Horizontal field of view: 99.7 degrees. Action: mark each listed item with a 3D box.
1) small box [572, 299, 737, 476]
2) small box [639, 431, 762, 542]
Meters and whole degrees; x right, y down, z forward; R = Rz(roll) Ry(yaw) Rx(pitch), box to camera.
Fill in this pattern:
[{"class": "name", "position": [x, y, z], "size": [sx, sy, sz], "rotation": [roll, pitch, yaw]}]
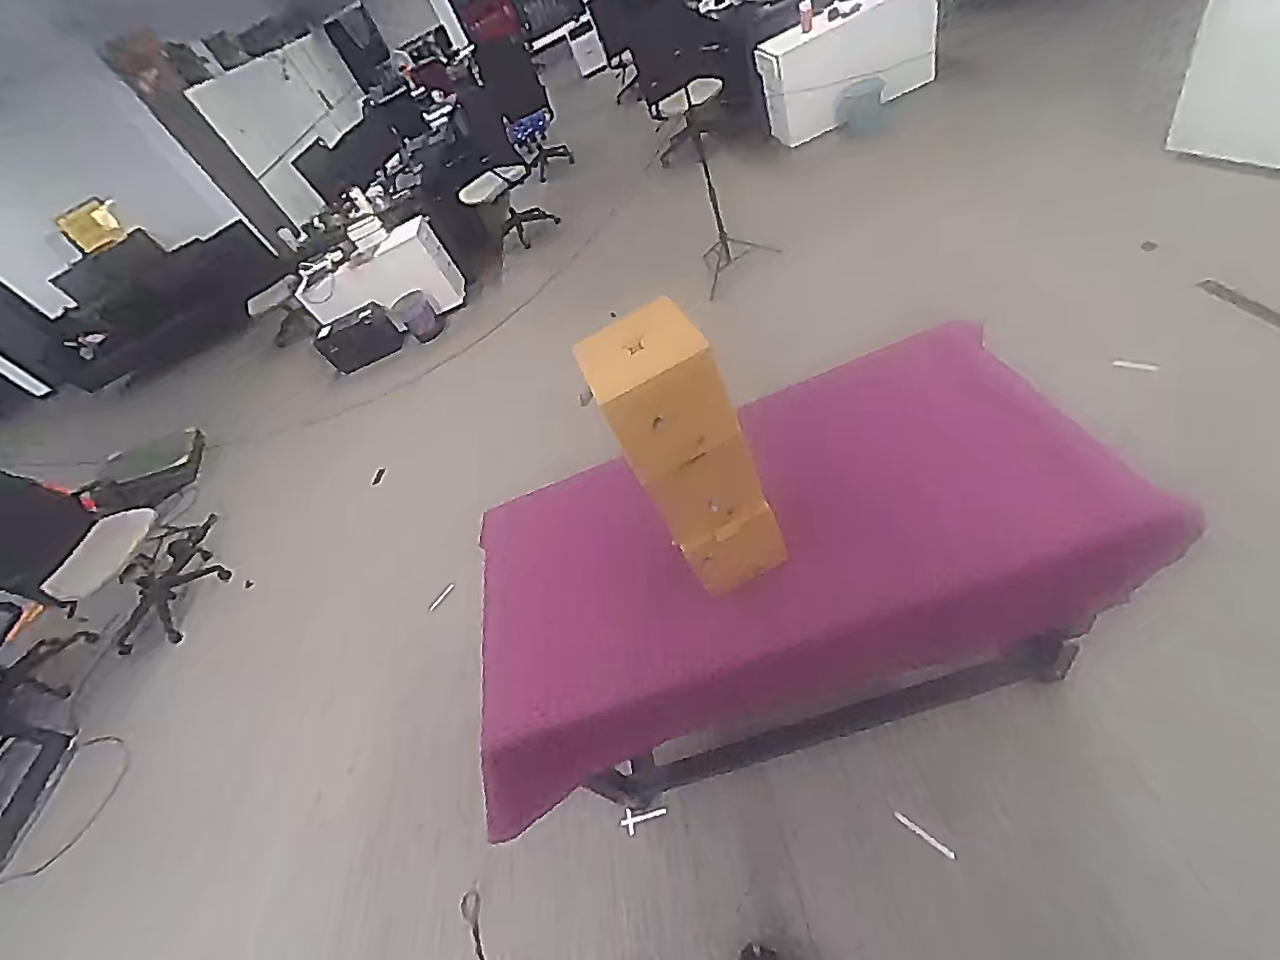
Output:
[{"class": "small box", "position": [0.024, -0.128, 0.800], "size": [0.168, 0.176, 0.179], "rotation": [-29, 42, 2]}, {"class": "small box", "position": [0.085, -0.029, 0.913], "size": [0.168, 0.176, 0.179], "rotation": [-27, 44, 4]}]
